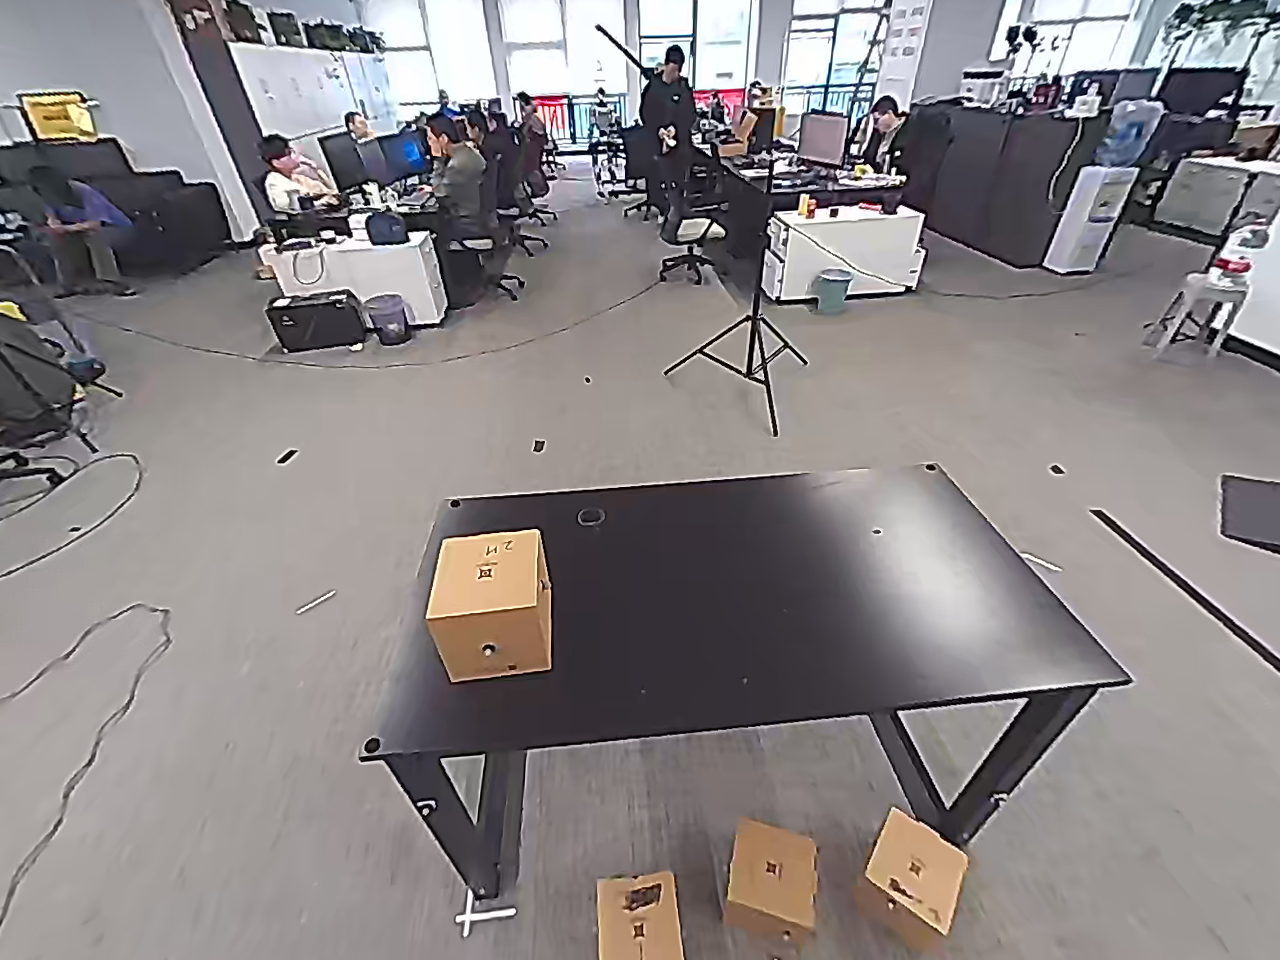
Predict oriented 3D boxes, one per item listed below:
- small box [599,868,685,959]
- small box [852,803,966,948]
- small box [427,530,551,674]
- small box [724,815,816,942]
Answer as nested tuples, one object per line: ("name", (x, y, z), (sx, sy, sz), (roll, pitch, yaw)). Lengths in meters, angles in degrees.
("small box", (0.002, 0.955, 1.138), (0.168, 0.176, 0.179), (-6, 39, -4))
("small box", (0.591, 0.877, 1.203), (0.168, 0.176, 0.179), (24, 45, 31))
("small box", (-0.244, 0.211, 0.921), (0.168, 0.176, 0.179), (-6, 37, -5))
("small box", (0.289, 0.891, 1.207), (0.179, 0.176, 0.168), (7, 38, 14))
